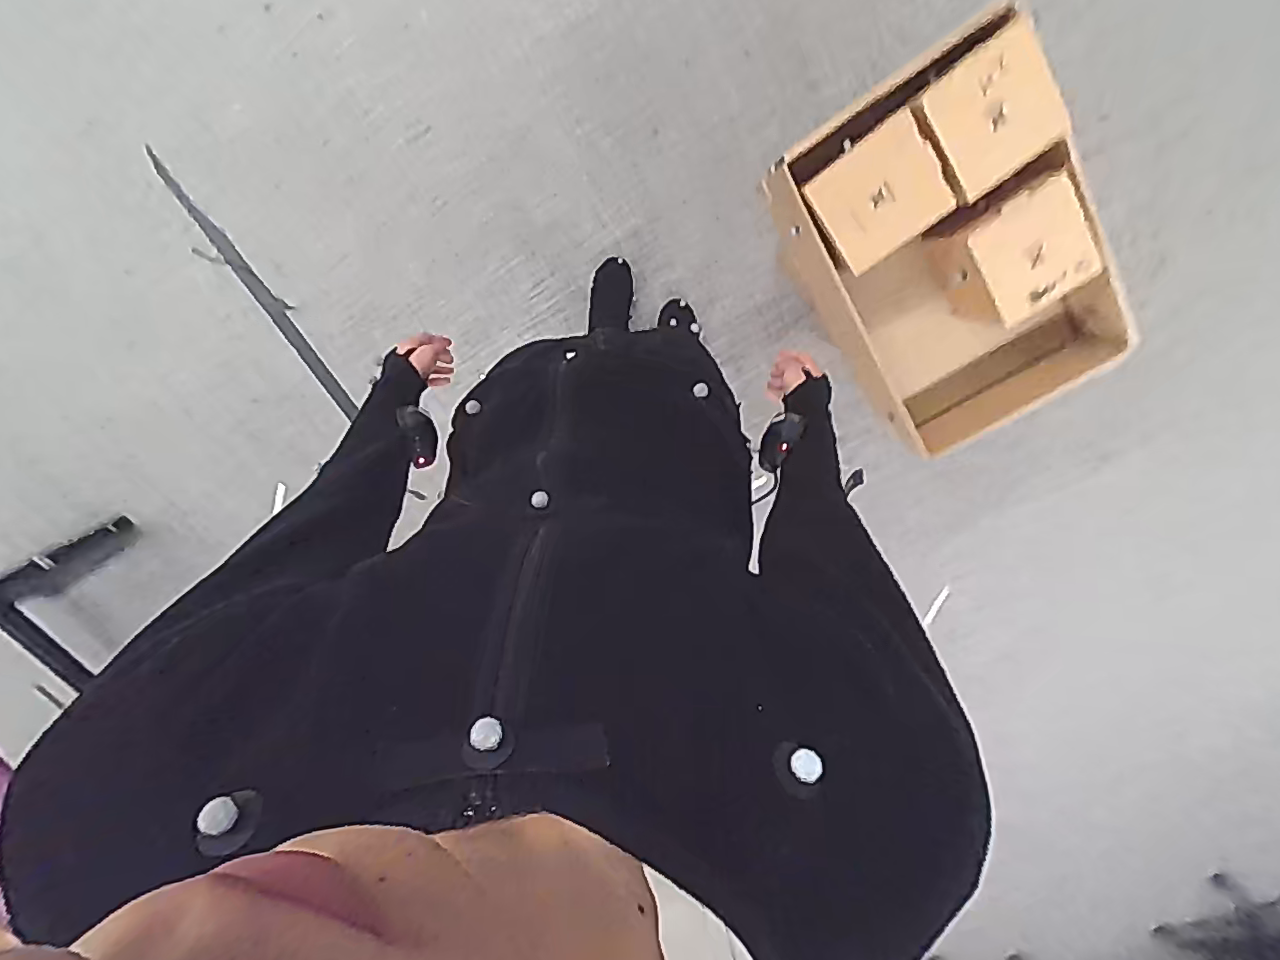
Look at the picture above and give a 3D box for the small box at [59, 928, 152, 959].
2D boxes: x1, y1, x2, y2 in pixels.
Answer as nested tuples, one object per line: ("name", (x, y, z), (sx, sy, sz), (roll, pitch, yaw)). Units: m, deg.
("small box", (-1.451, 1.325, 1.420), (0.179, 0.176, 0.168), (-28, 108, 15))
